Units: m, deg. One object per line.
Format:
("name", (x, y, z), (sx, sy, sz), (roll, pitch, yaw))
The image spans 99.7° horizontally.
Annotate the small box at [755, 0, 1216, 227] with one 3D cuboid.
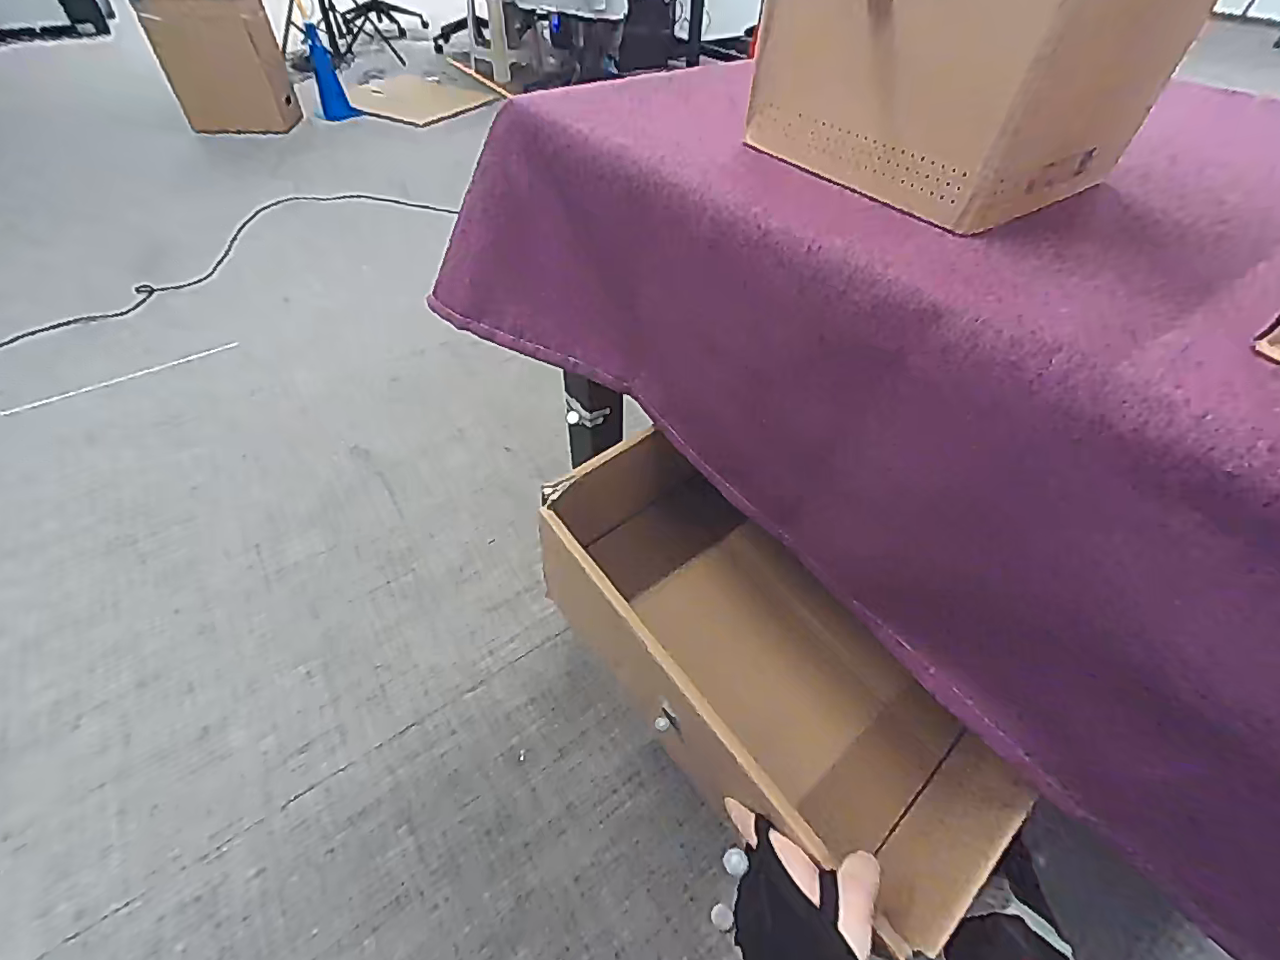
("small box", (0.187, -0.265, 0.300), (0.168, 0.176, 0.179), (-28, 54, -23))
